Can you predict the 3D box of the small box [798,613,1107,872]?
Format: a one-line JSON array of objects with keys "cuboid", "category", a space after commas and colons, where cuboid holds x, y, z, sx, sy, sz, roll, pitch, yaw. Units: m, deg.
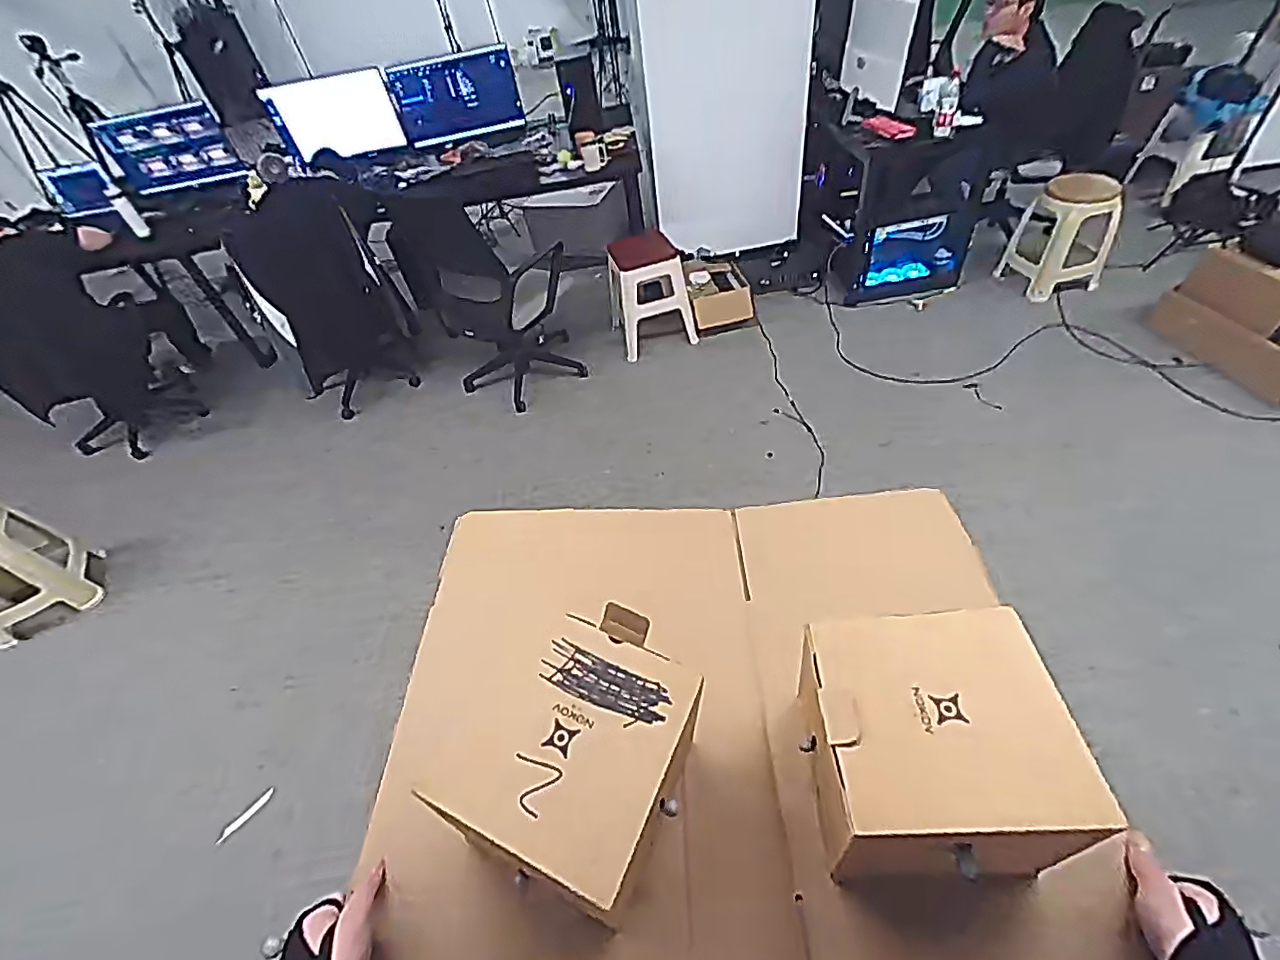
[{"cuboid": [0.248, 0.239, 0.488, 0.179, 0.176, 0.168, -7, 45, 8], "category": "small box"}]
